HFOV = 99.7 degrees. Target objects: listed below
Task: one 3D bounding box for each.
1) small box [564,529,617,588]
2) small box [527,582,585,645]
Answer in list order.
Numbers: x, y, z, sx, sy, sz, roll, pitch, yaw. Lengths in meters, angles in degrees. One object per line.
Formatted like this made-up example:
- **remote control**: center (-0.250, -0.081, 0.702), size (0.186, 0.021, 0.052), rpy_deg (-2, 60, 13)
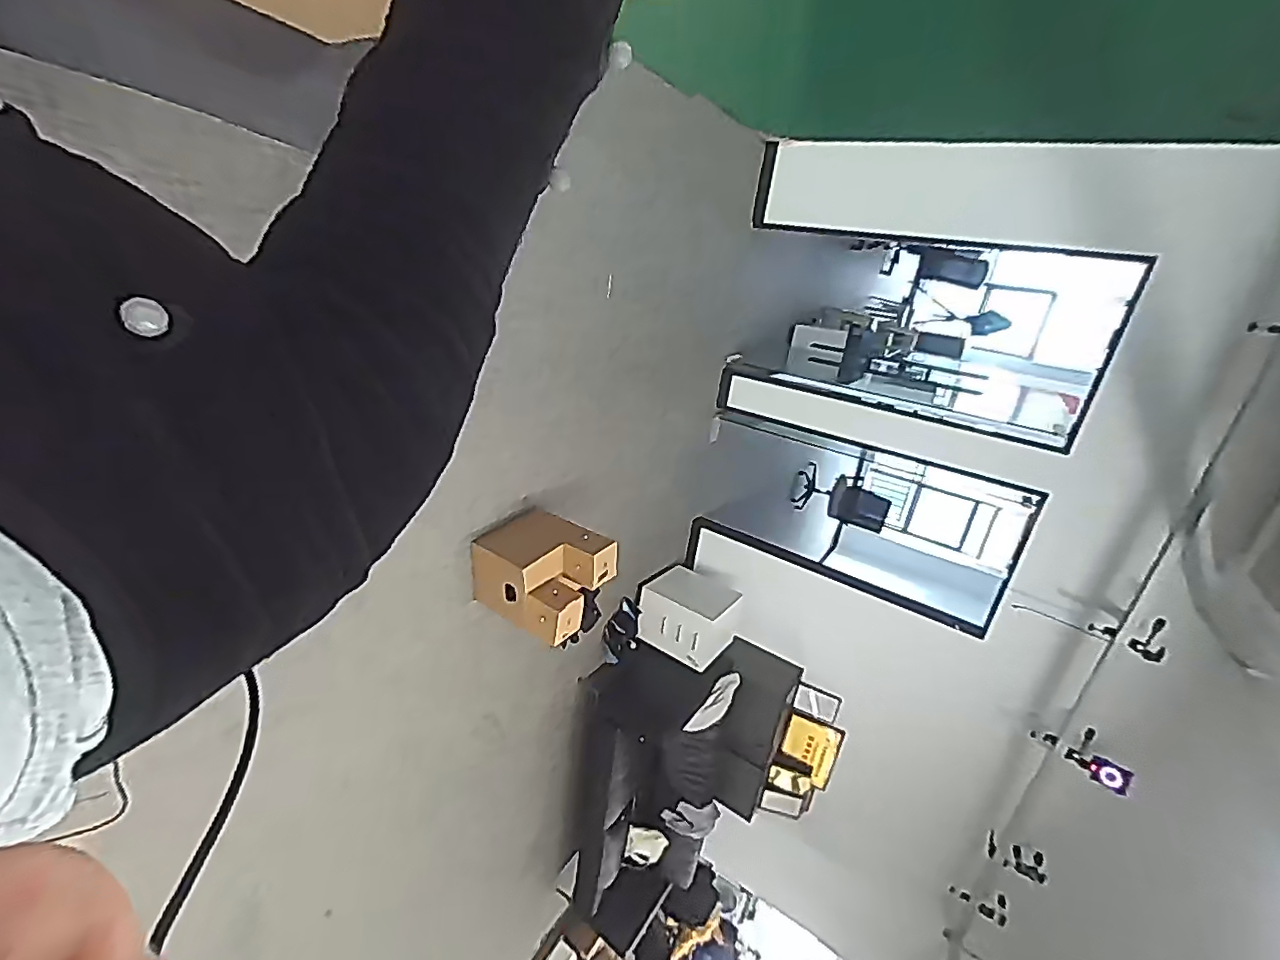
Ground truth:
- **small box**: center (-0.219, 0.337, 2.351), size (0.168, 0.176, 0.179), rpy_deg (-29, 128, -52)
- **small box**: center (-0.350, 0.541, 2.239), size (0.168, 0.176, 0.179), rpy_deg (-26, 130, -54)
